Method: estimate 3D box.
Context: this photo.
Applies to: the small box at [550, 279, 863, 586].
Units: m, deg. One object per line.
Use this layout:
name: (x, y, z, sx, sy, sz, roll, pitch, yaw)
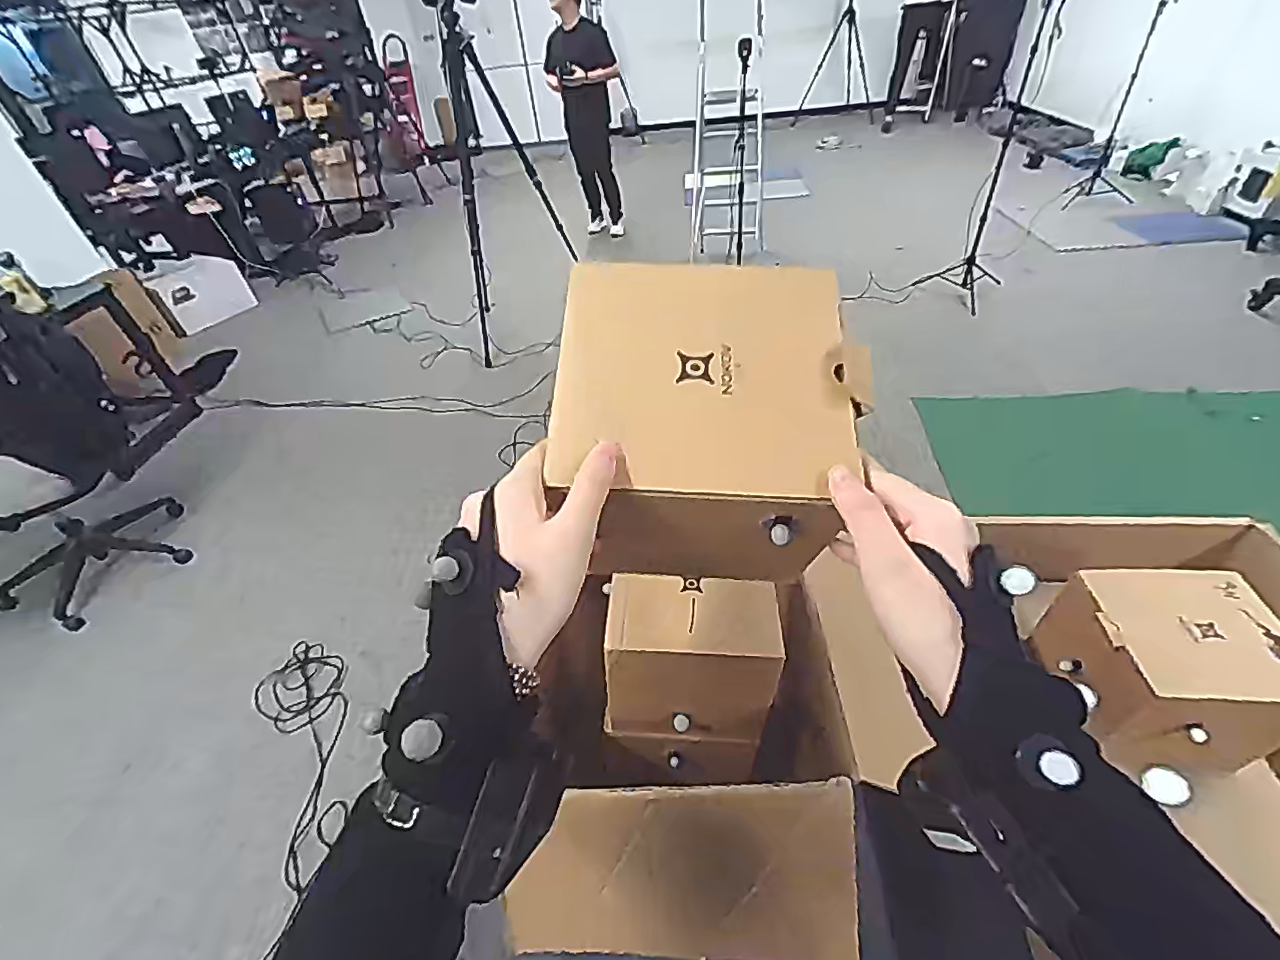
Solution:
small box: (0.041, -0.024, 0.403, 0.179, 0.176, 0.168, 3, 64, 1)
